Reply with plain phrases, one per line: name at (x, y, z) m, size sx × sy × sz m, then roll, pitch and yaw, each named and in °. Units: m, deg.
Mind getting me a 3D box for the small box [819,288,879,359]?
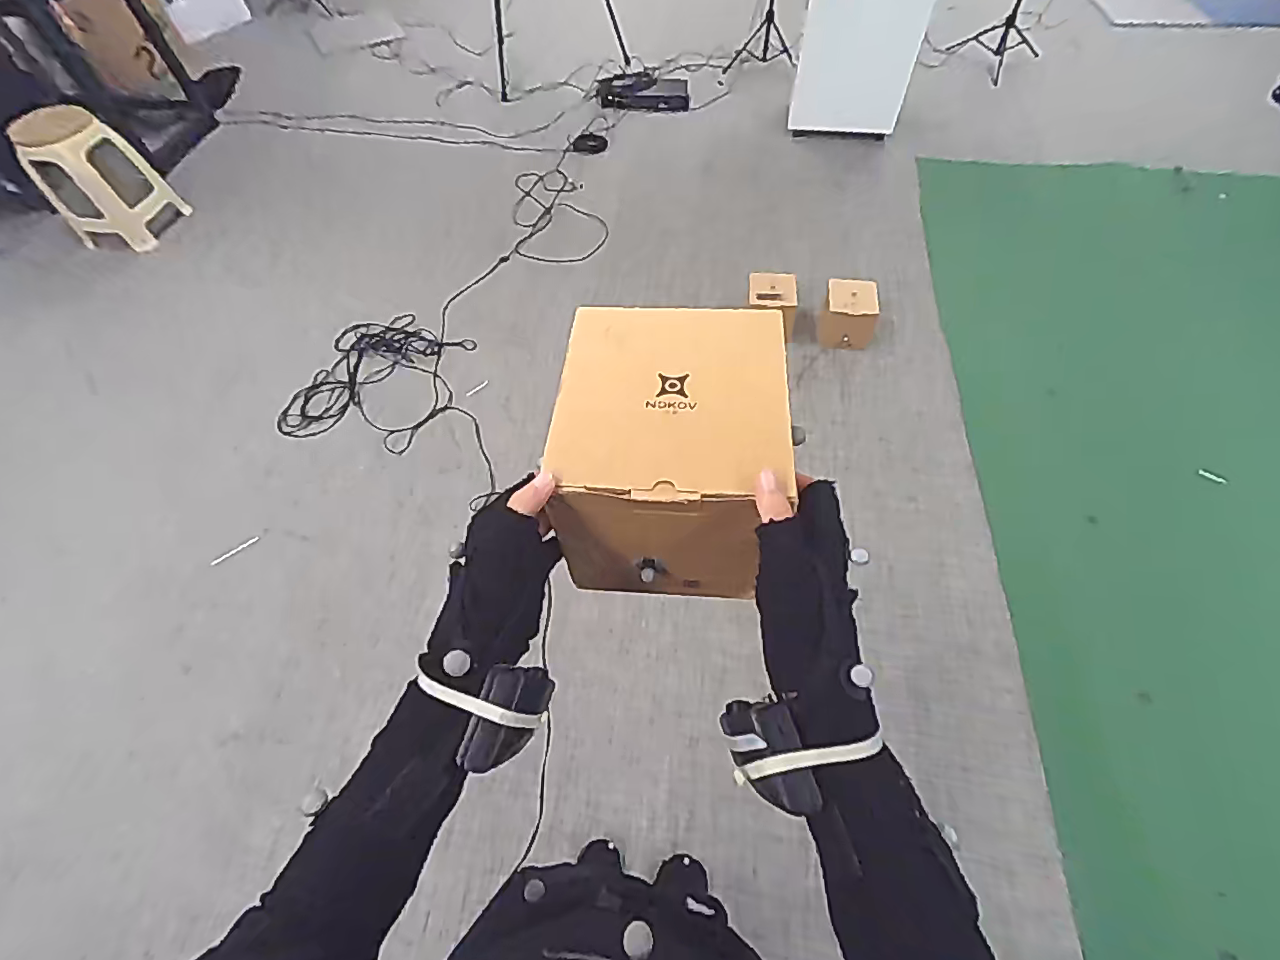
small box at (0.755, -0.568, 1.966) m, size 0.168 × 0.176 × 0.179 m, roll 6°, pitch 59°, yaw 7°
